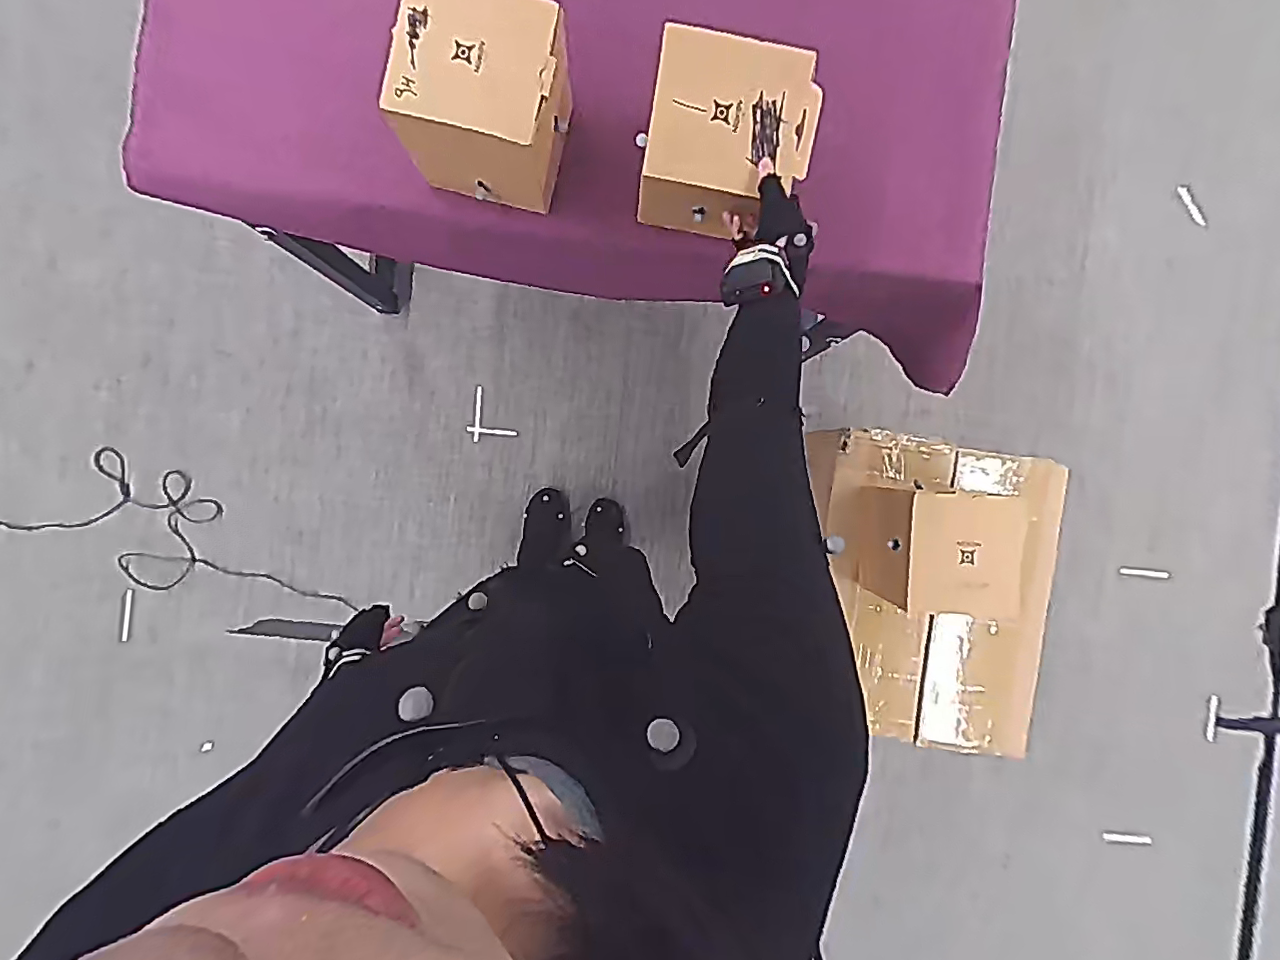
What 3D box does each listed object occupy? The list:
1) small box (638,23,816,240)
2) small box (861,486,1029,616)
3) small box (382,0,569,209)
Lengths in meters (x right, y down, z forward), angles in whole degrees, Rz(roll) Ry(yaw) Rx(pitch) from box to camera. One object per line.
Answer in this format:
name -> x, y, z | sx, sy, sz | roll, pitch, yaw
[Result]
small box -> 0.098, -0.425, 0.694 | 0.179, 0.176, 0.168 | 9, 98, -3
small box -> 0.458, 0.100, 0.836 | 0.168, 0.176, 0.179 | 2, 92, -1
small box -> -0.192, -0.475, 0.687 | 0.179, 0.176, 0.168 | 13, 89, -4
